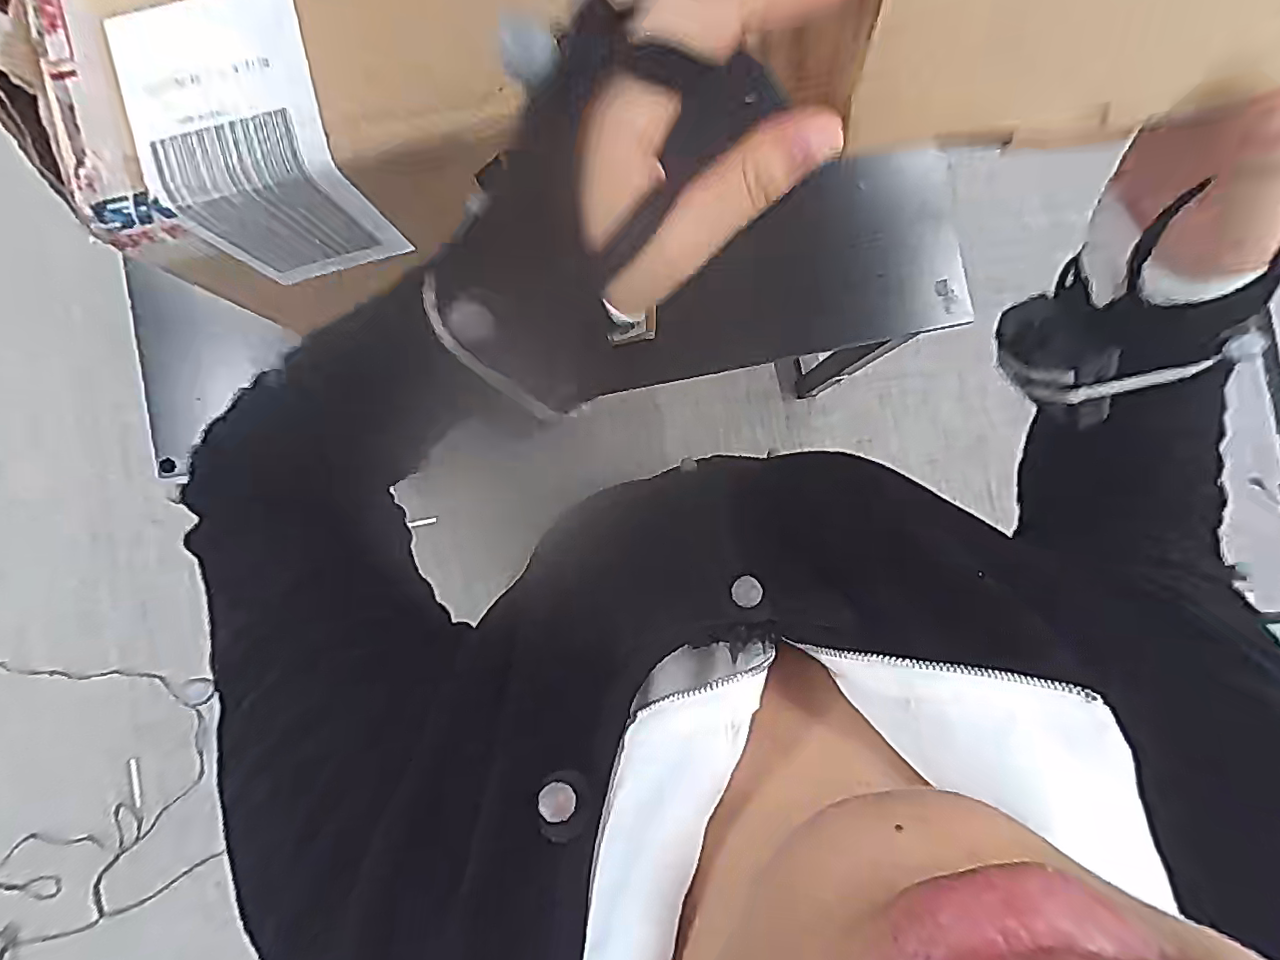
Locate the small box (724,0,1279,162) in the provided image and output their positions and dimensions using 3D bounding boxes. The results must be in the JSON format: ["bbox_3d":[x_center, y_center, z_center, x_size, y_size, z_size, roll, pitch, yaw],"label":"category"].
[{"bbox_3d":[0.124,-0.232,0.166,0.168,0.179,0.176,-8,54,-5],"label":"small box"}]
